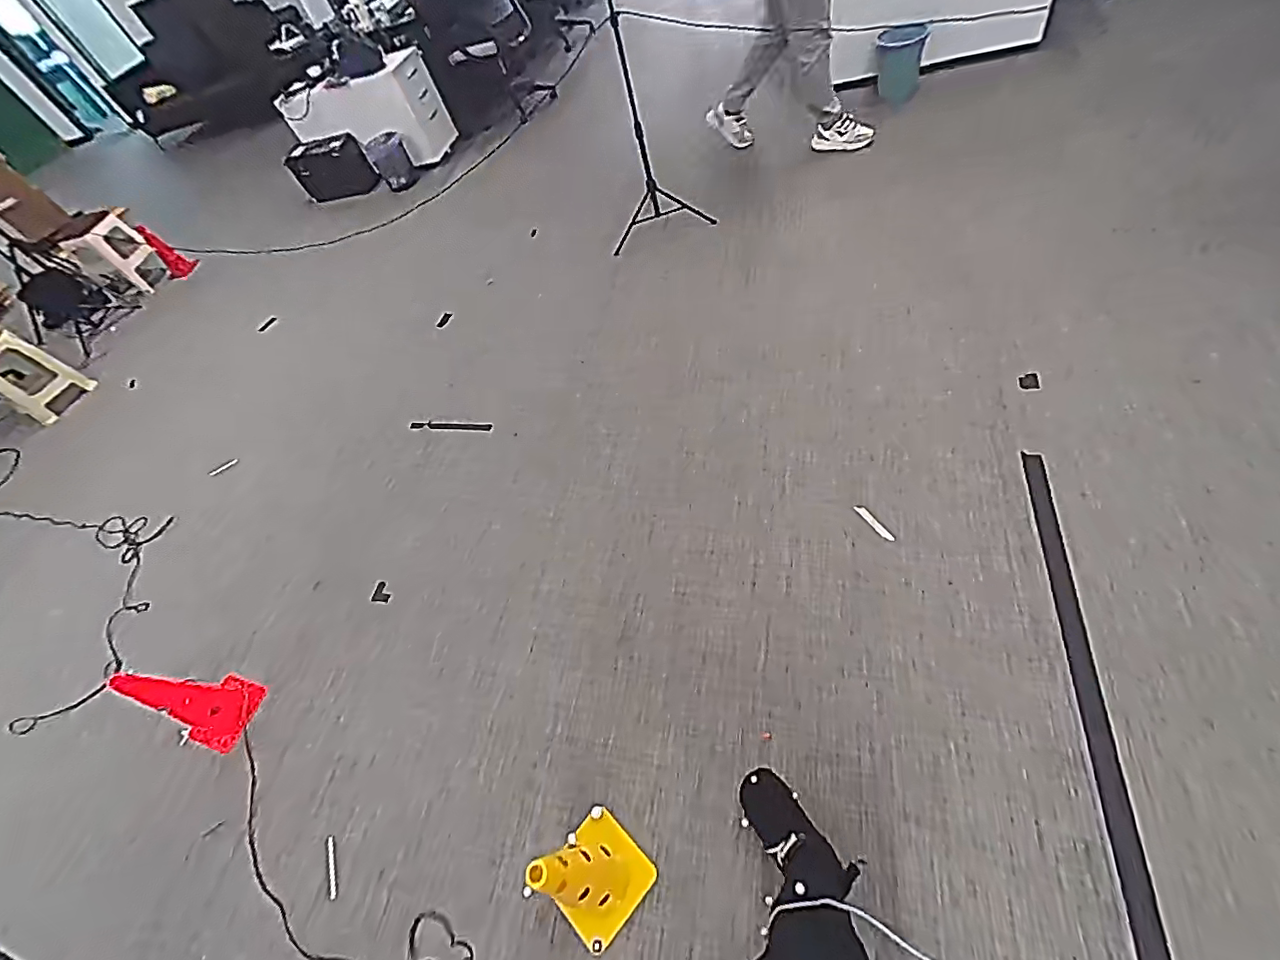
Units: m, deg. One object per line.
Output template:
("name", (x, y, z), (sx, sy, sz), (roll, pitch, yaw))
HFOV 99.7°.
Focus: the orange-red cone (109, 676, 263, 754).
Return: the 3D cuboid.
("orange-red cone", (-1.328, 0.632, 1.550), (0.199, 0.360, 0.198), (9, 59, 22))
